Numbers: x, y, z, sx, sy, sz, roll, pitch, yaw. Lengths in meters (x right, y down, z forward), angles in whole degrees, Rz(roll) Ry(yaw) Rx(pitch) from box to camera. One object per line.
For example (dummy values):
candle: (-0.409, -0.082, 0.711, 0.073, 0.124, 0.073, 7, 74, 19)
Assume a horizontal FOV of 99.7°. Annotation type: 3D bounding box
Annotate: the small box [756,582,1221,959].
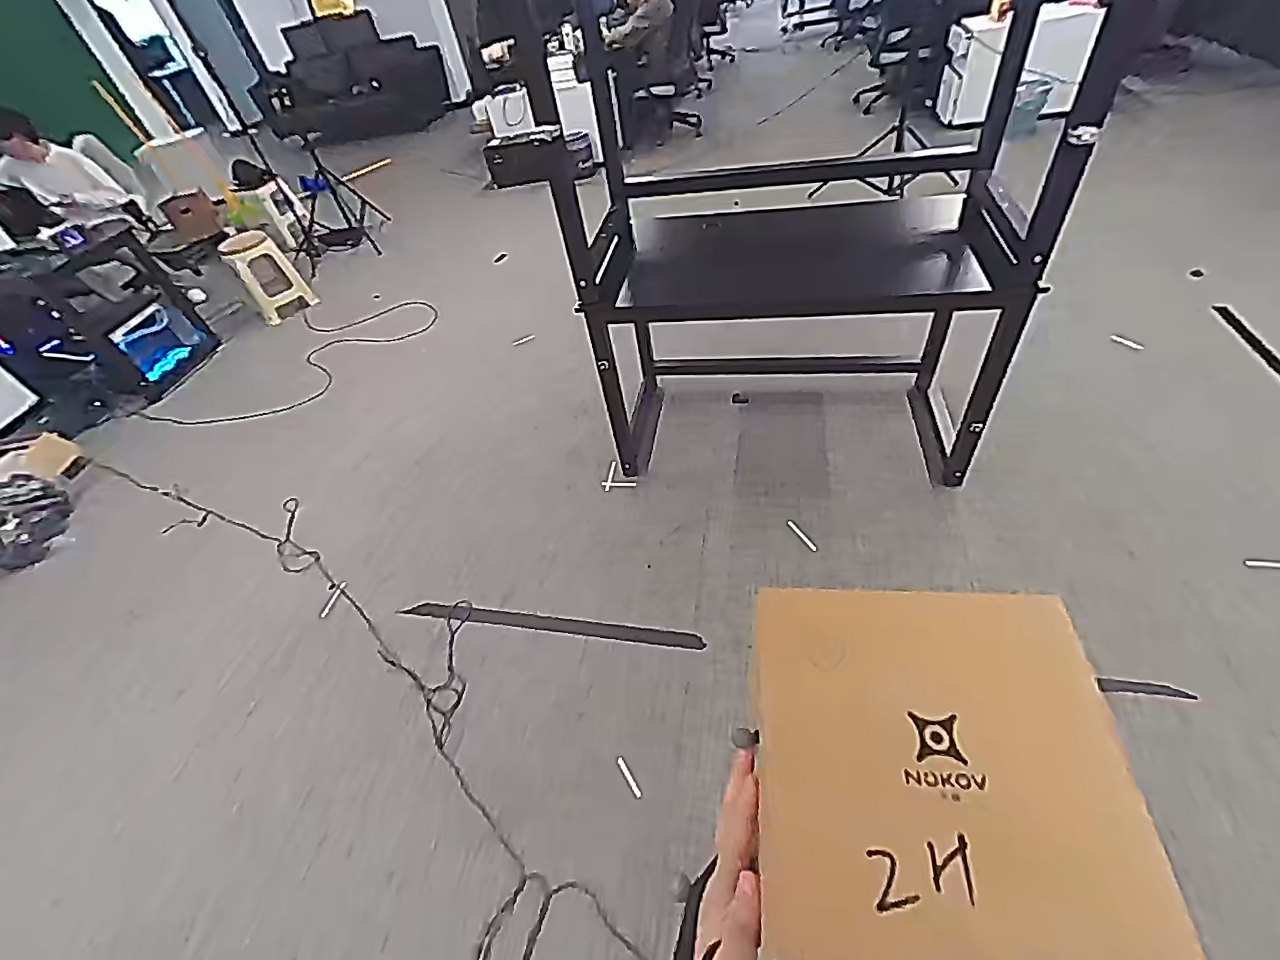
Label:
small box: (0.156, 0.179, 0.319, 0.168, 0.176, 0.179, 0, 53, 10)
